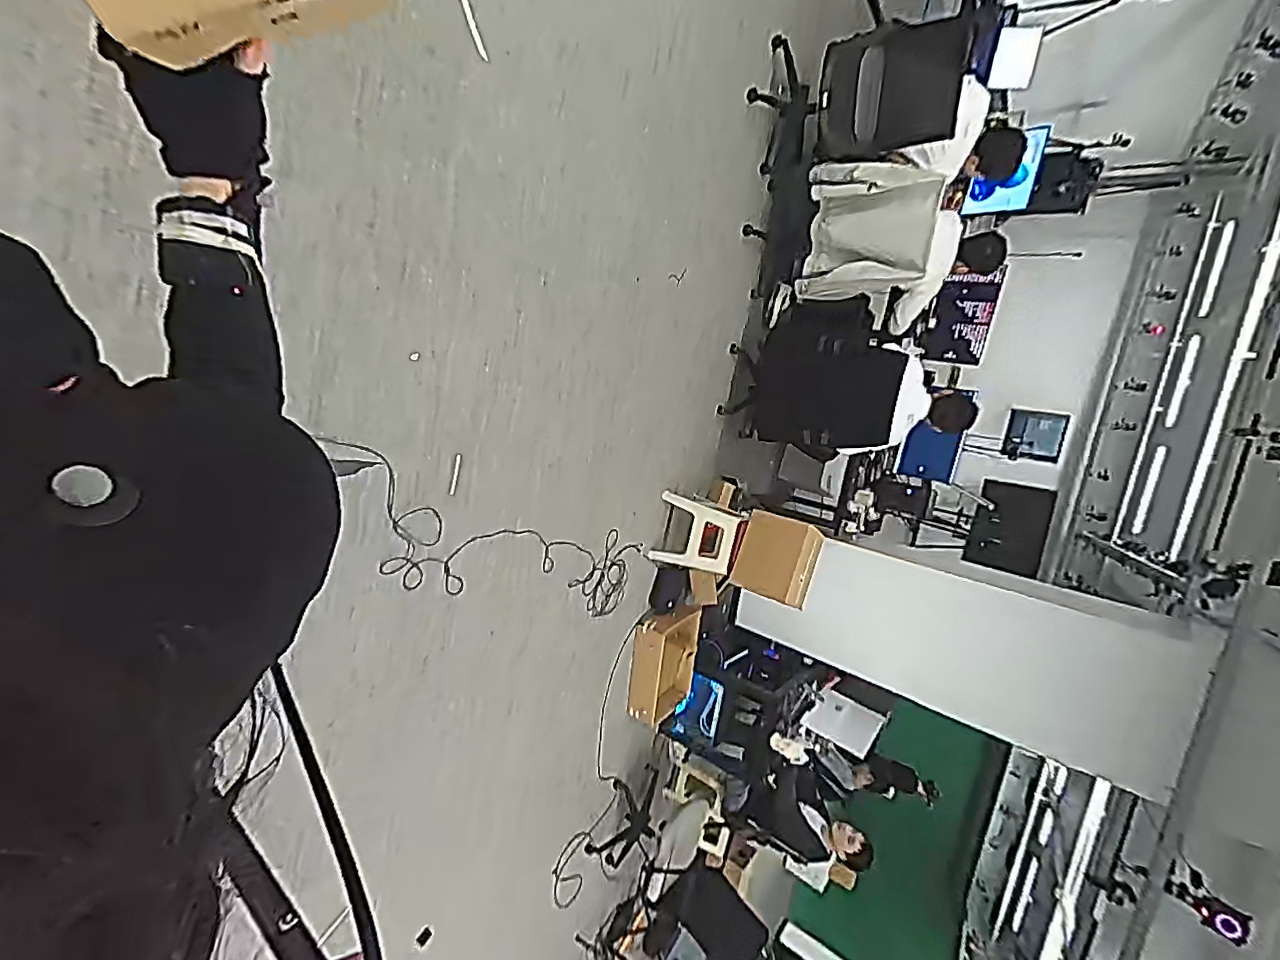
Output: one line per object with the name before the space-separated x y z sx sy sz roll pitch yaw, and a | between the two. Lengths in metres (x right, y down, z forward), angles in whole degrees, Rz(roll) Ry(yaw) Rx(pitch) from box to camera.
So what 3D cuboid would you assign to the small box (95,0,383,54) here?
small box | -0.257 -0.373 0.303 0.168 0.179 0.176 -28 128 -11
